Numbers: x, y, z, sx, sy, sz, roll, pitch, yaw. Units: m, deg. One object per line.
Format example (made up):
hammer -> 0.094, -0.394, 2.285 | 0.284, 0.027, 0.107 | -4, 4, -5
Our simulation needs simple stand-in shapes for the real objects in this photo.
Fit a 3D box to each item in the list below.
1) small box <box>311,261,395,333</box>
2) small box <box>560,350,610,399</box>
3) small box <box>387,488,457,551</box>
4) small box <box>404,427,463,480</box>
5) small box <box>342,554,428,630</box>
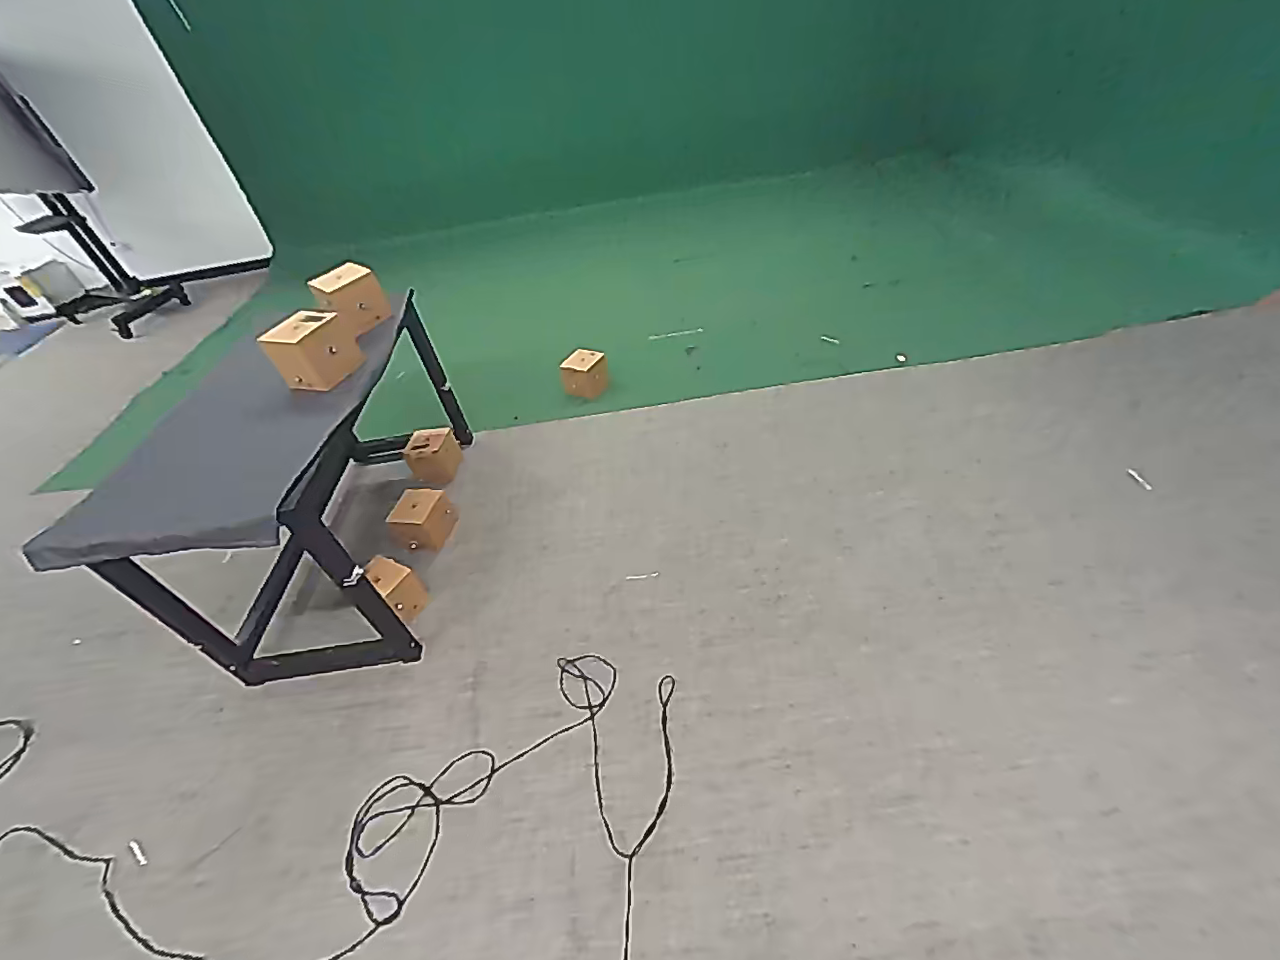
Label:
small box -> -0.997, -0.636, 1.889 | 0.179, 0.176, 0.168 | 28, 57, 34
small box -> -0.270, -0.531, 2.722 | 0.168, 0.176, 0.179 | 17, 50, 27
small box -> -0.835, 0.152, 2.099 | 0.168, 0.176, 0.179 | 1, 45, 13
small box -> -0.907, -0.113, 2.394 | 0.168, 0.176, 0.179 | -4, 42, 6
small box -> -0.865, 0.387, 1.855 | 0.179, 0.176, 0.168 | 16, 49, 26
